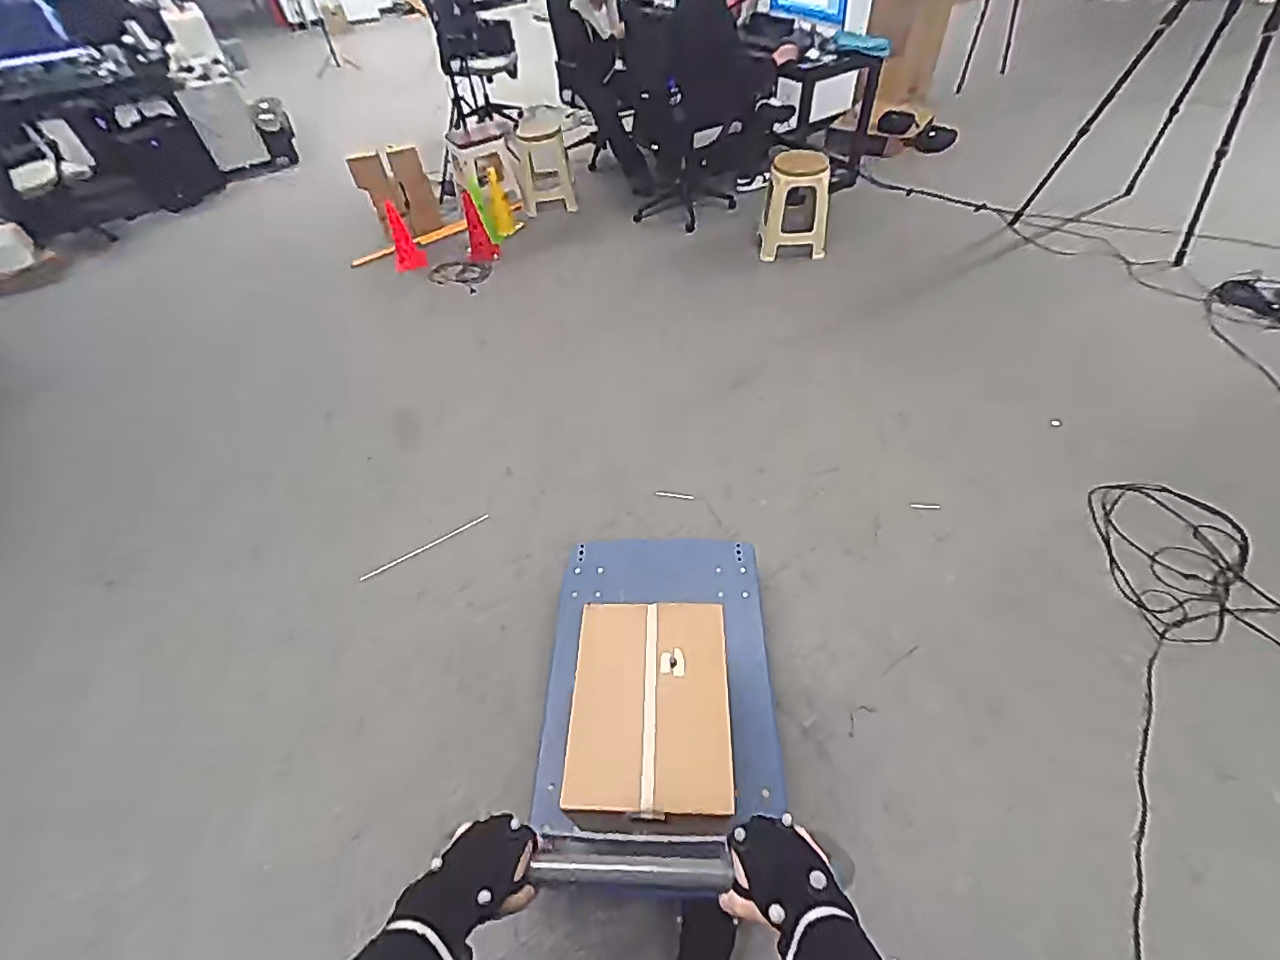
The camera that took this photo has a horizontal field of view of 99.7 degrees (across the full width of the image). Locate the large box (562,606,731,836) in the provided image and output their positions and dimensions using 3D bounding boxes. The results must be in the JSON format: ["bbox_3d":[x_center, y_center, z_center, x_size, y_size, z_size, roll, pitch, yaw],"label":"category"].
[{"bbox_3d":[0.027,0.539,1.213,0.320,0.320,0.408,0,49,5],"label":"large box"}]
